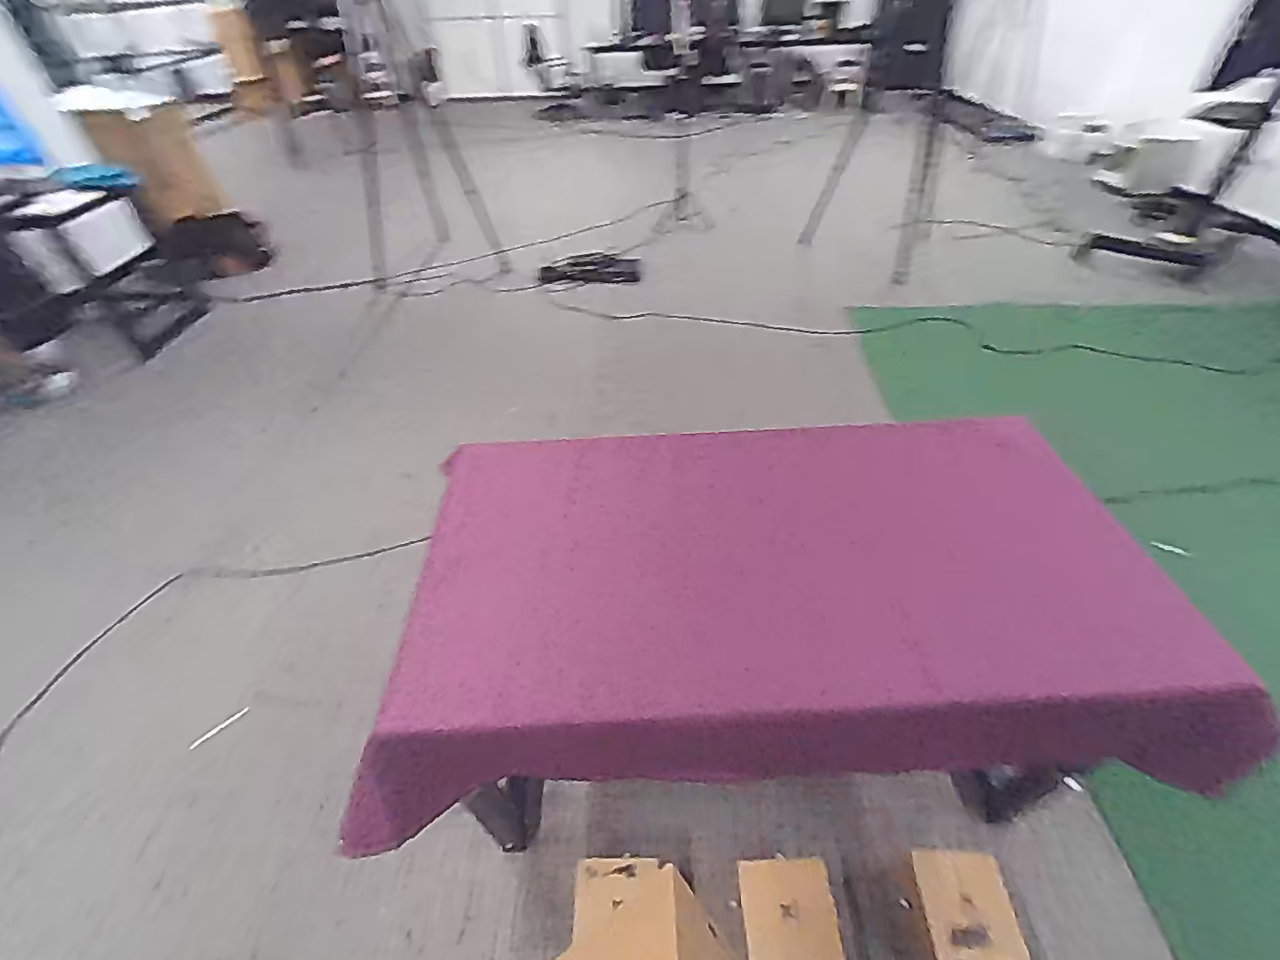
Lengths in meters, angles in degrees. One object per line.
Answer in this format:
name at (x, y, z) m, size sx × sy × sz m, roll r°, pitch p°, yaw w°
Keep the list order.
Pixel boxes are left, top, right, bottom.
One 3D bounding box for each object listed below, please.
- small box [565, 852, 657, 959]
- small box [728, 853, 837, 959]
small box at (-0.051, 0.876, 1.096) m, size 0.168 × 0.176 × 0.179 m, roll -1°, pitch 45°, yaw 2°
small box at (0.274, 0.869, 1.088) m, size 0.179 × 0.176 × 0.168 m, roll -2°, pitch 44°, yaw 1°
